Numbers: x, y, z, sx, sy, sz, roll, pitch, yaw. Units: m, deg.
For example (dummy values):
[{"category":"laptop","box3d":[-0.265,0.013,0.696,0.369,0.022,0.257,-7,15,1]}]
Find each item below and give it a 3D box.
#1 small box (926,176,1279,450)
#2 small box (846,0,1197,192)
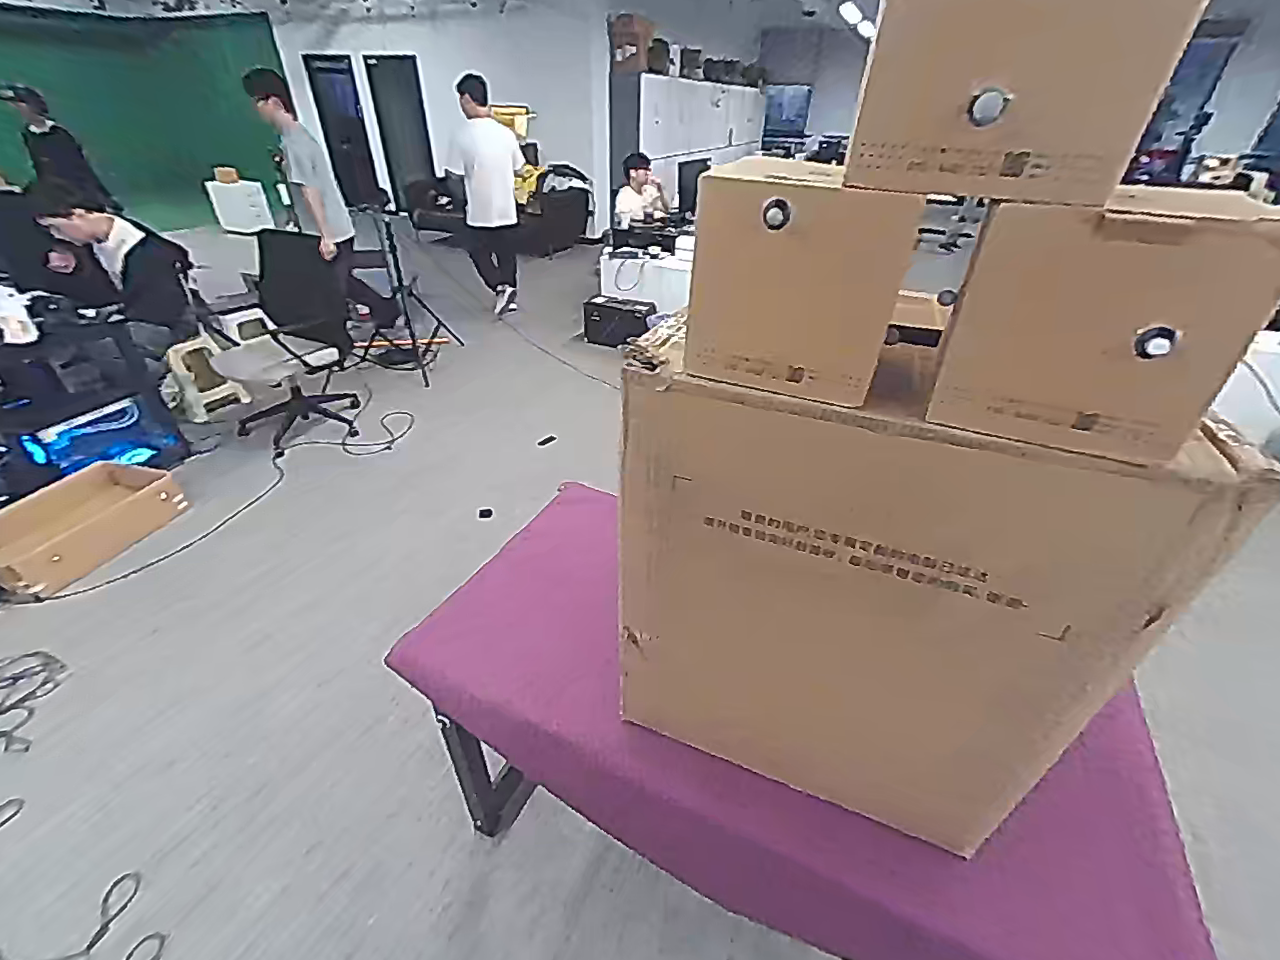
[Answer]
[{"category":"small box","box3d":[0.346,-0.144,0.436,0.168,0.176,0.179,17,36,21]},{"category":"small box","box3d":[0.252,-0.310,0.384,0.168,0.176,0.179,13,37,15]}]
